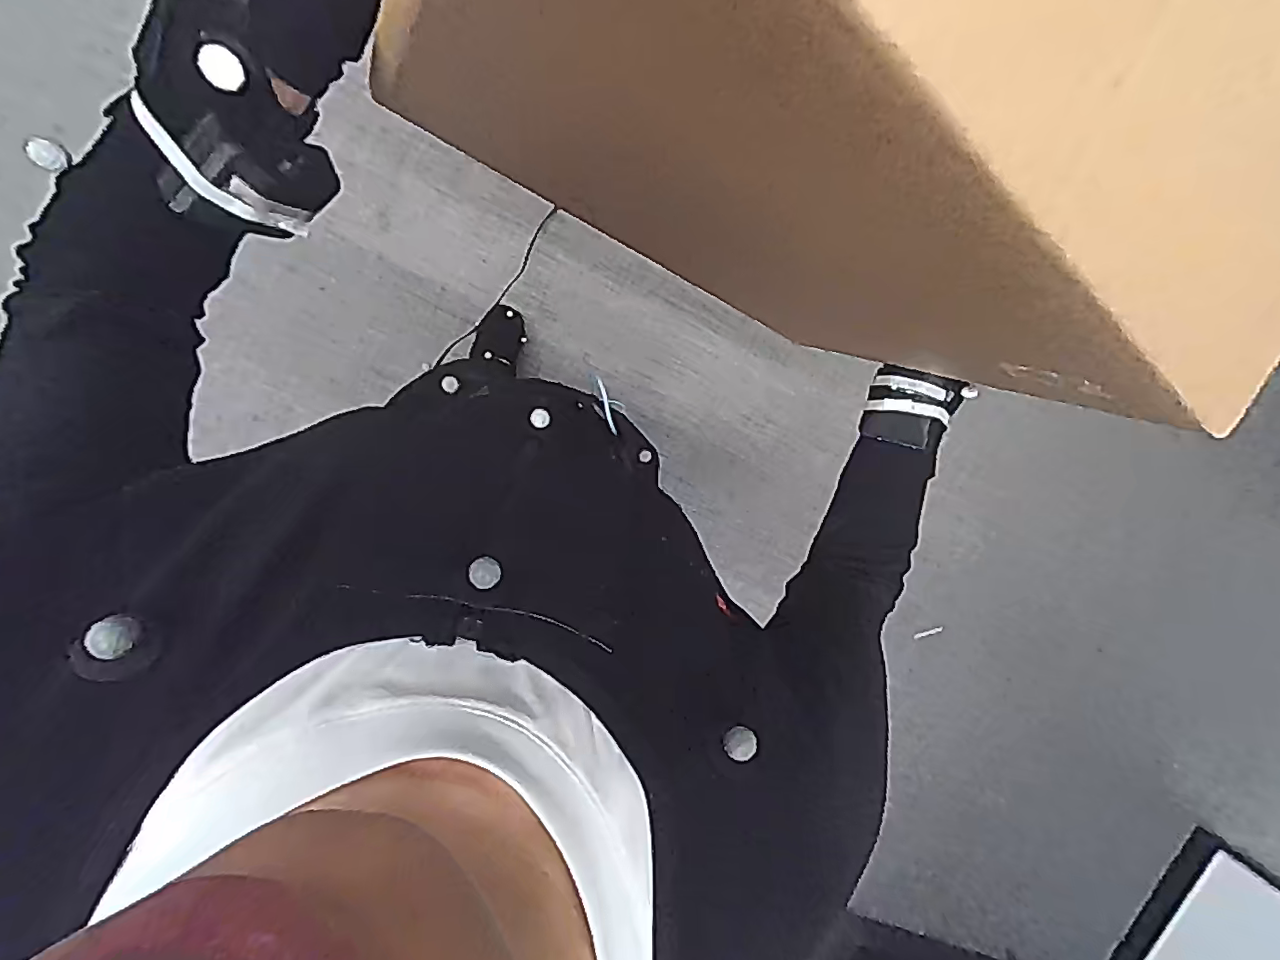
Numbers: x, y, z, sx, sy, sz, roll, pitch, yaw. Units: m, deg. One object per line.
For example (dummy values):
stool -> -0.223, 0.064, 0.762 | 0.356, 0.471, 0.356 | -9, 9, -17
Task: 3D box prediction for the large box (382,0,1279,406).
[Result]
large box -> 0.131, -0.269, 0.275 | 0.408, 0.320, 0.320 | 15, 104, -35
